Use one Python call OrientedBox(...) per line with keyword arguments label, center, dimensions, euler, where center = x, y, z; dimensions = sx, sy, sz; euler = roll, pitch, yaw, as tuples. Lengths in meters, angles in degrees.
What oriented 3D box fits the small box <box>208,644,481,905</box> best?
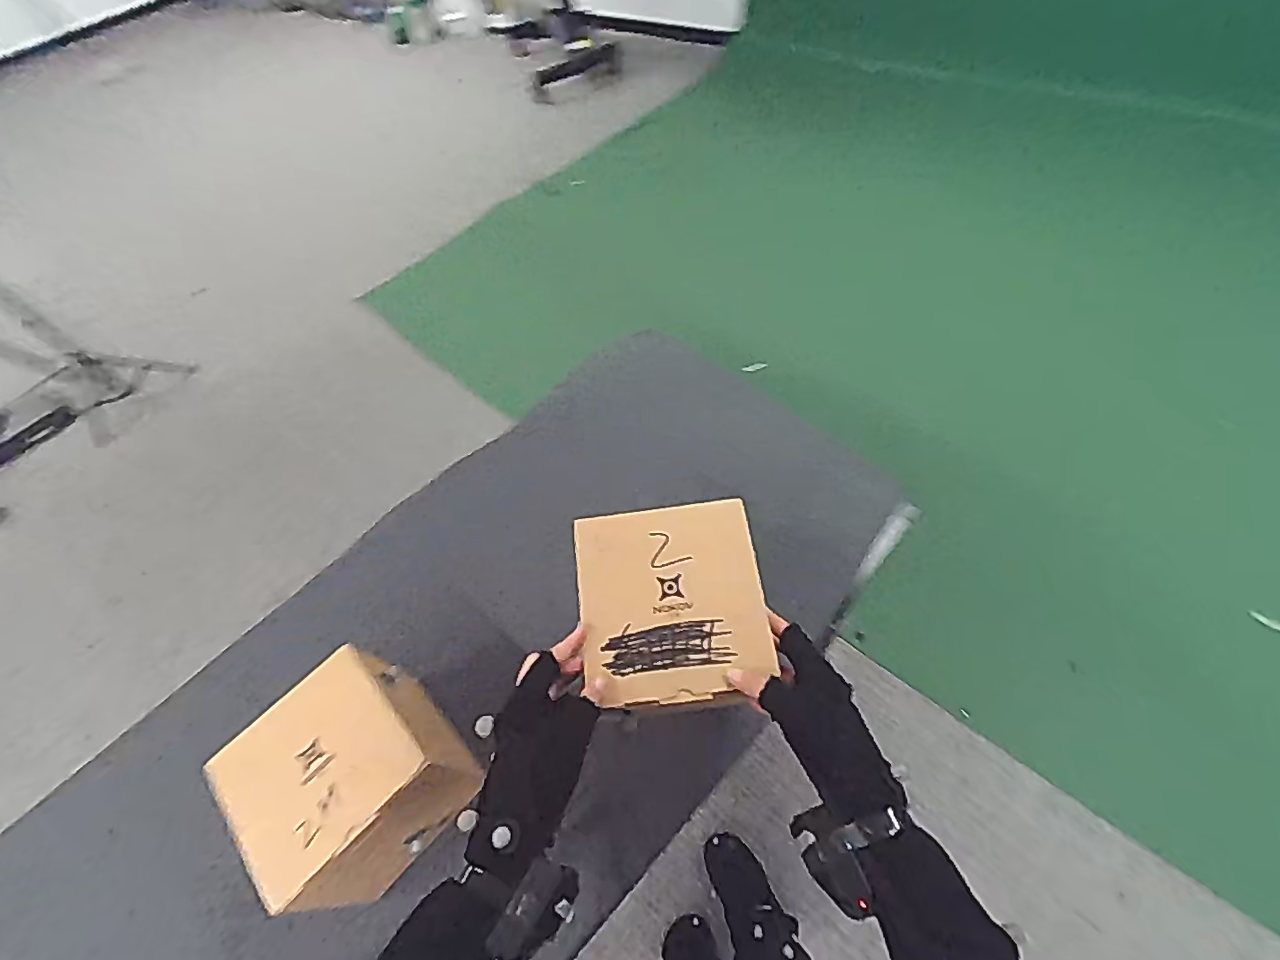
OrientedBox(label="small box", center=(-0.312, 0.322, 0.599), dimensions=(0.179, 0.176, 0.168), euler=(36, 68, 28))
